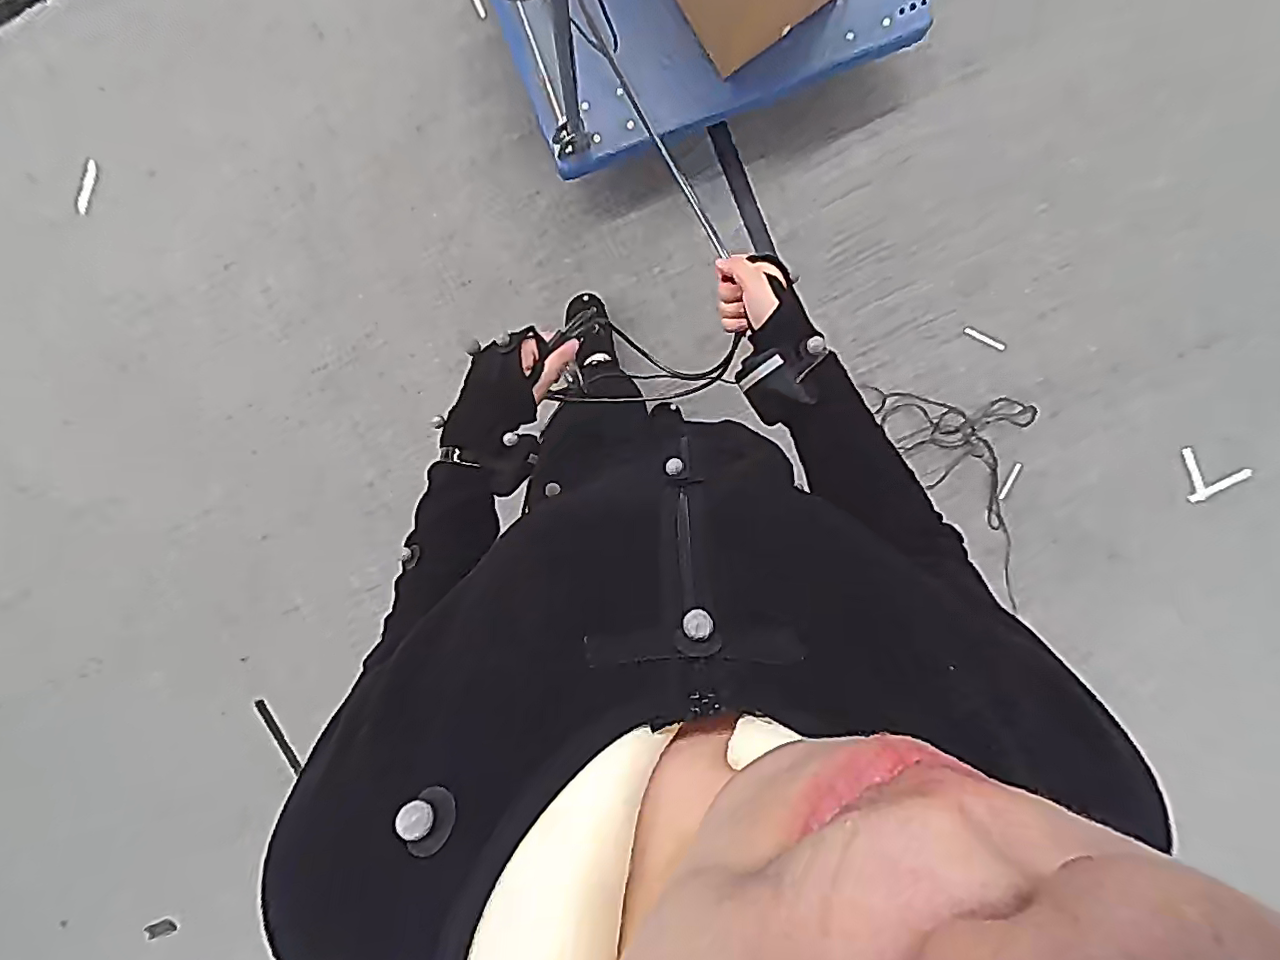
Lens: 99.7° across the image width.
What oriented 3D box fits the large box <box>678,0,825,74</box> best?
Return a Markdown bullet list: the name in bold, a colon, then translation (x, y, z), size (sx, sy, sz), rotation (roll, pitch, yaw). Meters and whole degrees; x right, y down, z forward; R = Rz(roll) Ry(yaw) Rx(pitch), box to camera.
- **large box**: translation (0.191, -1.080, 0.968), size (0.320, 0.320, 0.408), rotation (-35, 99, 6)
